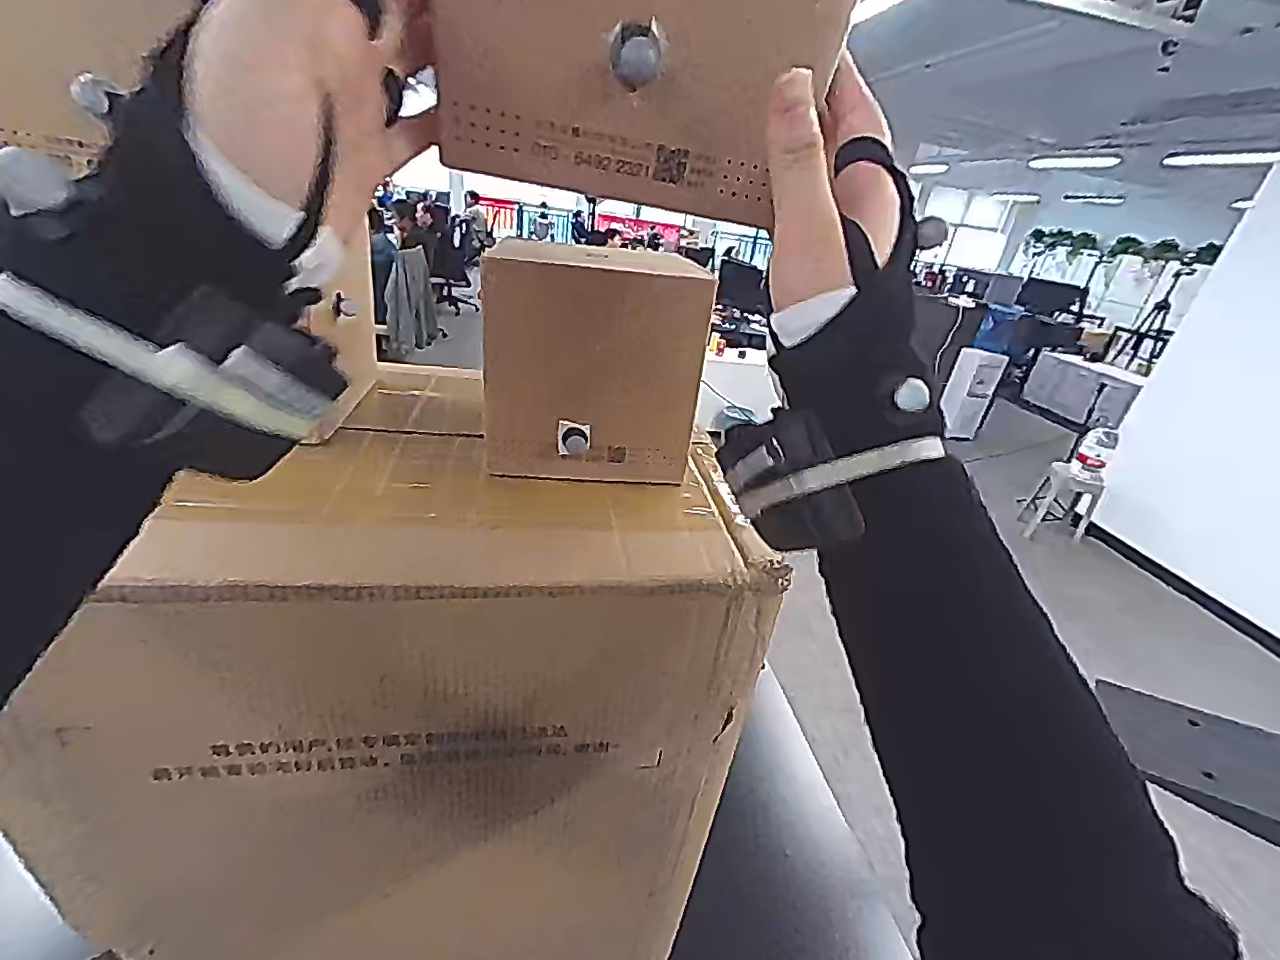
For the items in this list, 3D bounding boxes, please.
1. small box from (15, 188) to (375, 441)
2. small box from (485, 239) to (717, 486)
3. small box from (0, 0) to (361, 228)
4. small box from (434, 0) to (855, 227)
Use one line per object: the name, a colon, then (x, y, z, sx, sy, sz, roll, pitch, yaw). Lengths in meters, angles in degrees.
small box: (-0.336, -0.143, 0.461, 0.168, 0.176, 0.179, 3, 28, -13)
small box: (-0.043, -0.110, 0.483, 0.168, 0.176, 0.179, 1, 29, -9)
small box: (-0.306, -0.281, 0.373, 0.168, 0.176, 0.179, 4, 28, -11)
small box: (0.000, -0.248, 0.261, 0.168, 0.176, 0.179, 6, 43, -9)
